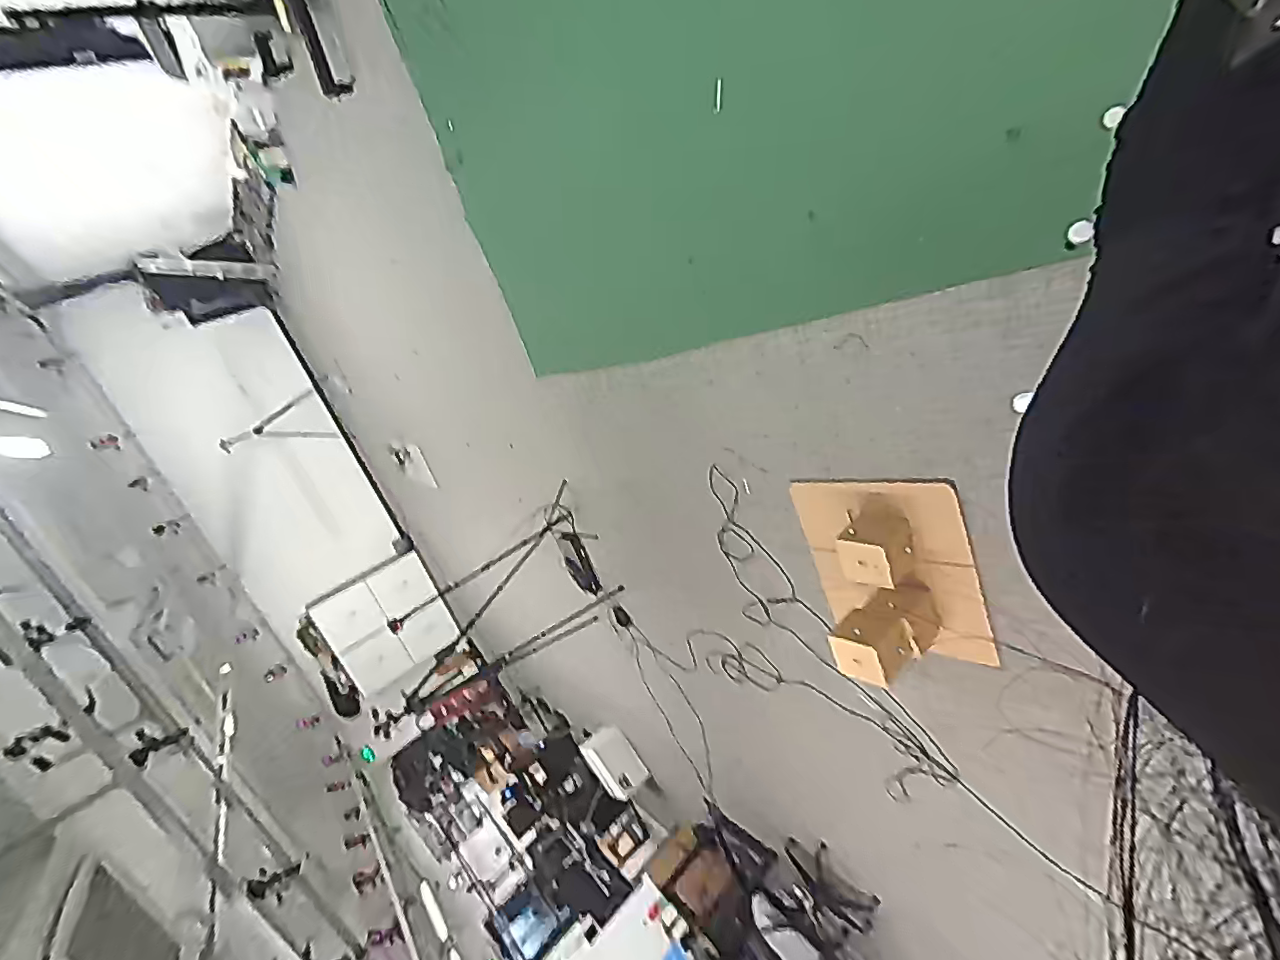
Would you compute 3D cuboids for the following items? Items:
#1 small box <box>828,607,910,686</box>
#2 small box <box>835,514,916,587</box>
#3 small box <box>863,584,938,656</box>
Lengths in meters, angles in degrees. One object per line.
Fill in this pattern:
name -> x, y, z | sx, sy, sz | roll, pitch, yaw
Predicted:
small box -> 0.766, 0.548, 1.805 | 0.179, 0.176, 0.168 | 1, 118, 54
small box -> 0.787, 0.228, 1.805 | 0.179, 0.176, 0.168 | 5, 123, 52
small box -> 0.902, 0.475, 1.866 | 0.179, 0.176, 0.168 | -4, 115, 56
